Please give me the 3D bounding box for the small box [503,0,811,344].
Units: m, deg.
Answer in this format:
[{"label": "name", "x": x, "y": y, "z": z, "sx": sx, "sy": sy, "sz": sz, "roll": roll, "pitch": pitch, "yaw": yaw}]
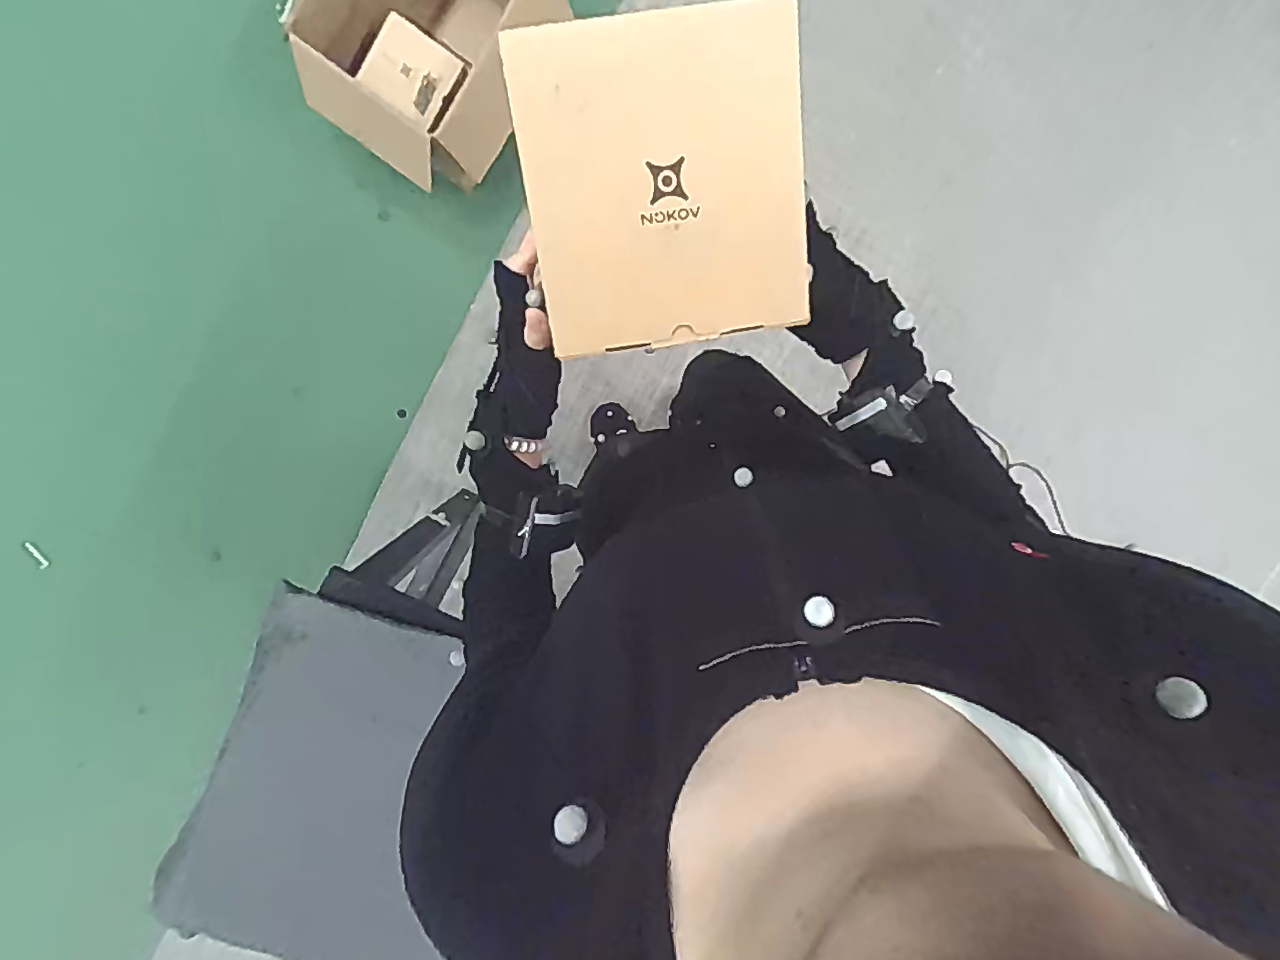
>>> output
[{"label": "small box", "x": 0.009, "y": -0.201, "z": 0.389, "sx": 0.168, "sy": 0.176, "sz": 0.179, "roll": -10, "pitch": 109, "yaw": -2}]
